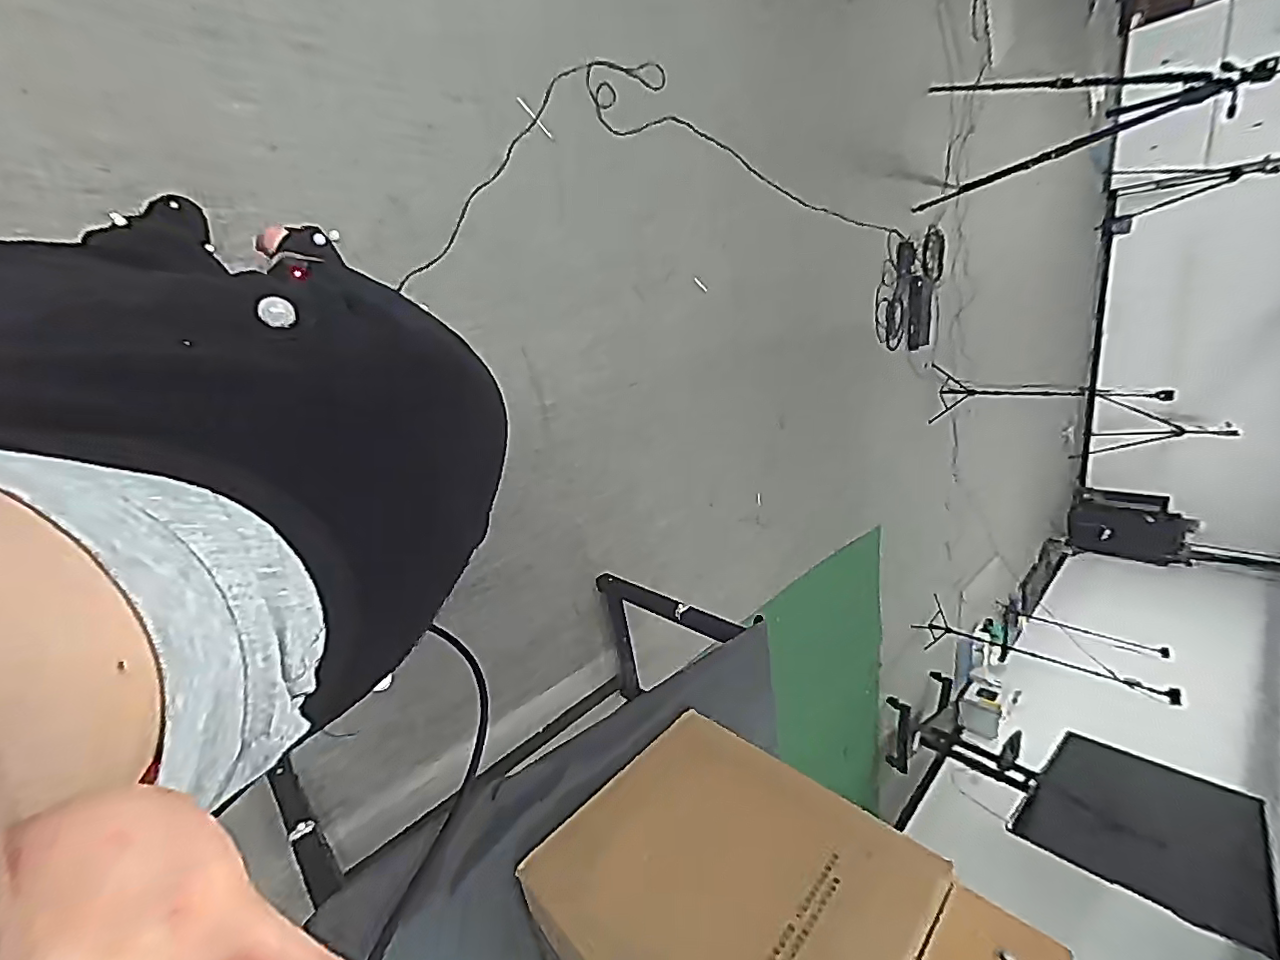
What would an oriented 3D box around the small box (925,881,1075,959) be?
[{"bbox_3d":[0.560,0.796,0.851,0.179,0.176,0.168,-27,114,-39],"label":"small box"}]
